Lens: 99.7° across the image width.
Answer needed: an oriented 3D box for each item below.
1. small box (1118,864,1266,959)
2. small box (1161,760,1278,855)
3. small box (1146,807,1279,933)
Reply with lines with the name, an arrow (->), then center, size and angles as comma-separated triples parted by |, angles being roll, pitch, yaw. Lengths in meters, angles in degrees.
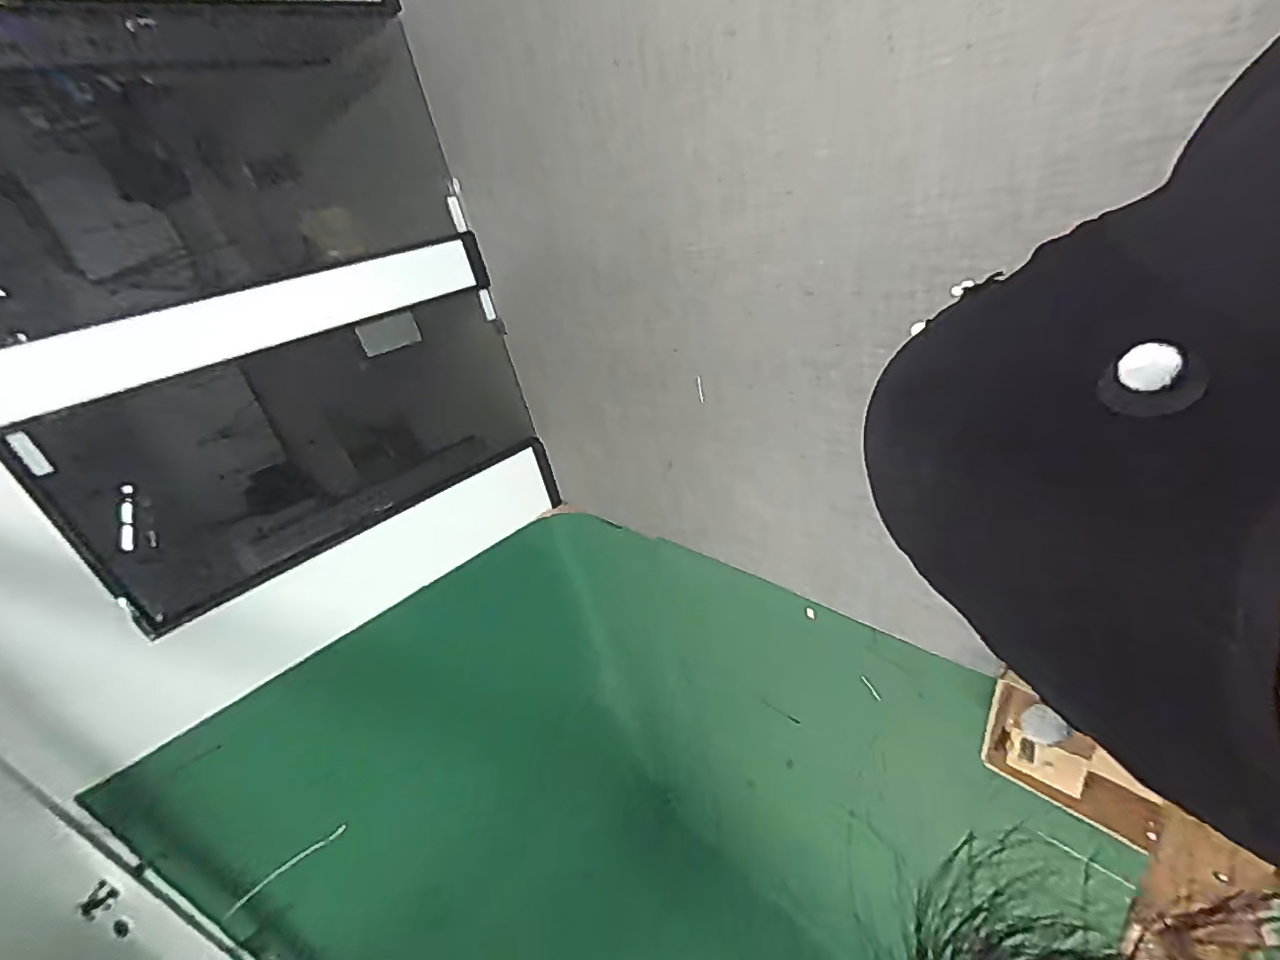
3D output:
small box -> 1.172, 0.971, 1.153 | 0.179, 0.176, 0.168 | 21, 132, 45
small box -> 1.418, 0.838, 1.328 | 0.168, 0.176, 0.179 | 20, 131, 46
small box -> 1.300, 0.903, 1.233 | 0.179, 0.176, 0.168 | 22, 132, 46
